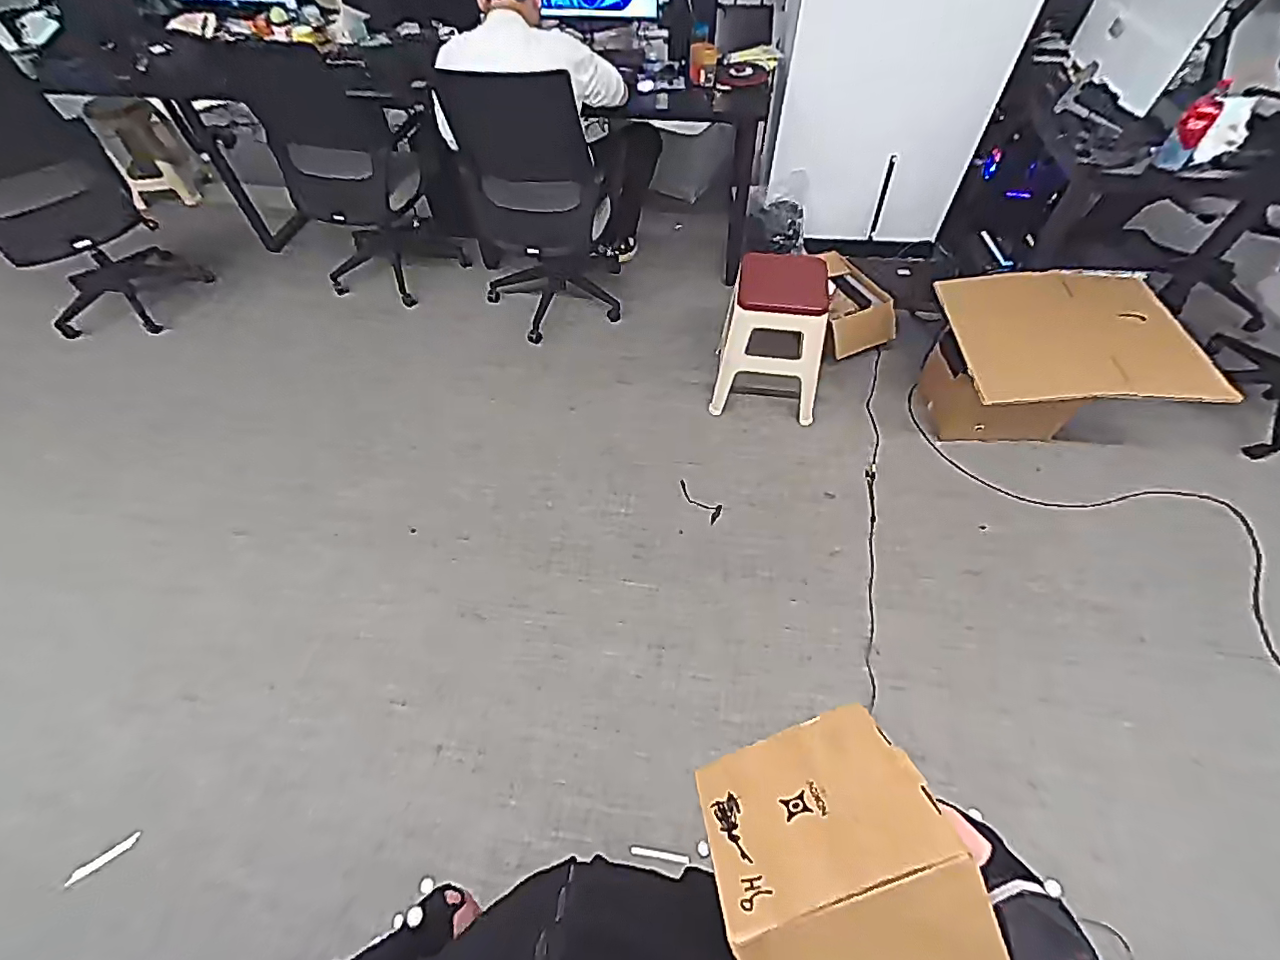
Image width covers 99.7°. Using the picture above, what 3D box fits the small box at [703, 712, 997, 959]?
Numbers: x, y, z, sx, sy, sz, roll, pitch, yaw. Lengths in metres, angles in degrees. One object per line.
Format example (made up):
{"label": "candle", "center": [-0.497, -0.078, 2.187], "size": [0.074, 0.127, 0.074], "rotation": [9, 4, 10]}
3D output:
{"label": "small box", "center": [0.174, 0.347, 0.469], "size": [0.179, 0.176, 0.168], "rotation": [-22, 11, 1]}
